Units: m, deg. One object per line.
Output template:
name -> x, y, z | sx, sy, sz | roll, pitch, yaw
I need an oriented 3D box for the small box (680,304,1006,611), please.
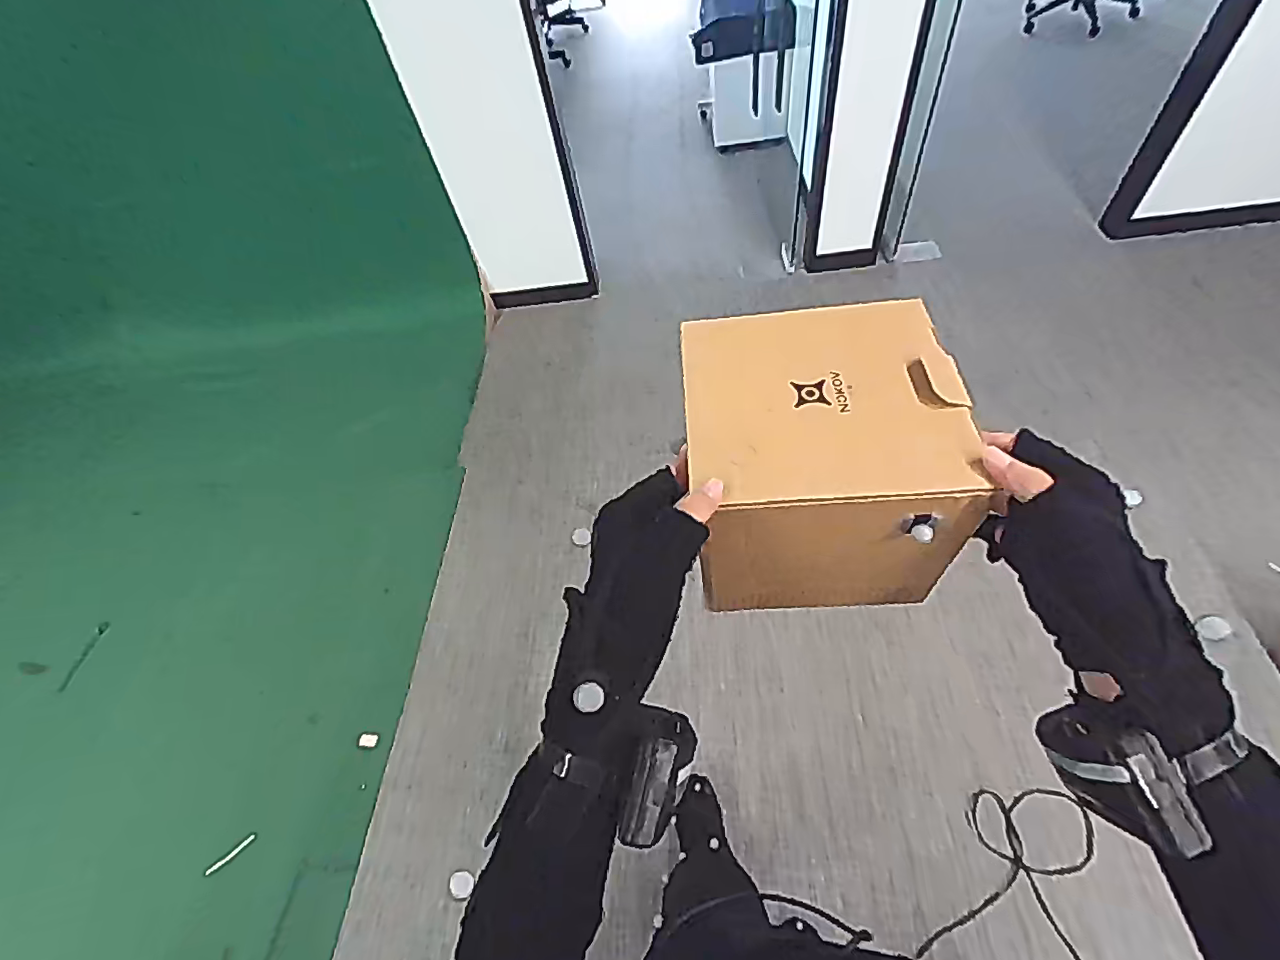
small box -> 0.127, -0.007, 0.414 | 0.179, 0.176, 0.168 | -4, 55, 6
